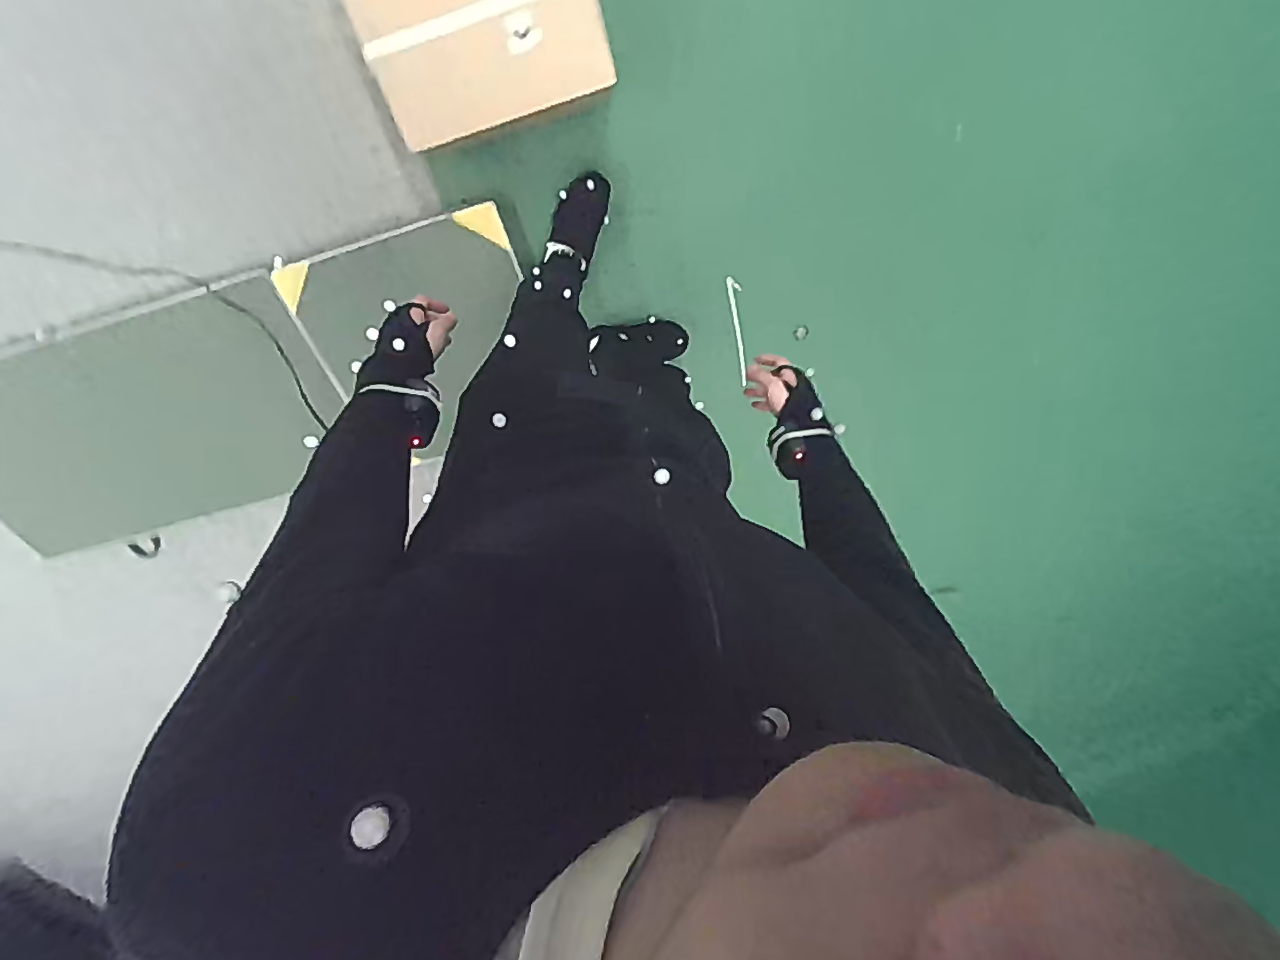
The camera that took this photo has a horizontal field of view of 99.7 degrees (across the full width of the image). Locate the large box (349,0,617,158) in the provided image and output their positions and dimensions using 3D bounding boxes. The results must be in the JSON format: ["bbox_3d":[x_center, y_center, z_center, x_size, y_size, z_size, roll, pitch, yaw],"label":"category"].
[{"bbox_3d":[-0.284,-0.861,1.049,0.408,0.320,0.320,-16,121,4],"label":"large box"}]
